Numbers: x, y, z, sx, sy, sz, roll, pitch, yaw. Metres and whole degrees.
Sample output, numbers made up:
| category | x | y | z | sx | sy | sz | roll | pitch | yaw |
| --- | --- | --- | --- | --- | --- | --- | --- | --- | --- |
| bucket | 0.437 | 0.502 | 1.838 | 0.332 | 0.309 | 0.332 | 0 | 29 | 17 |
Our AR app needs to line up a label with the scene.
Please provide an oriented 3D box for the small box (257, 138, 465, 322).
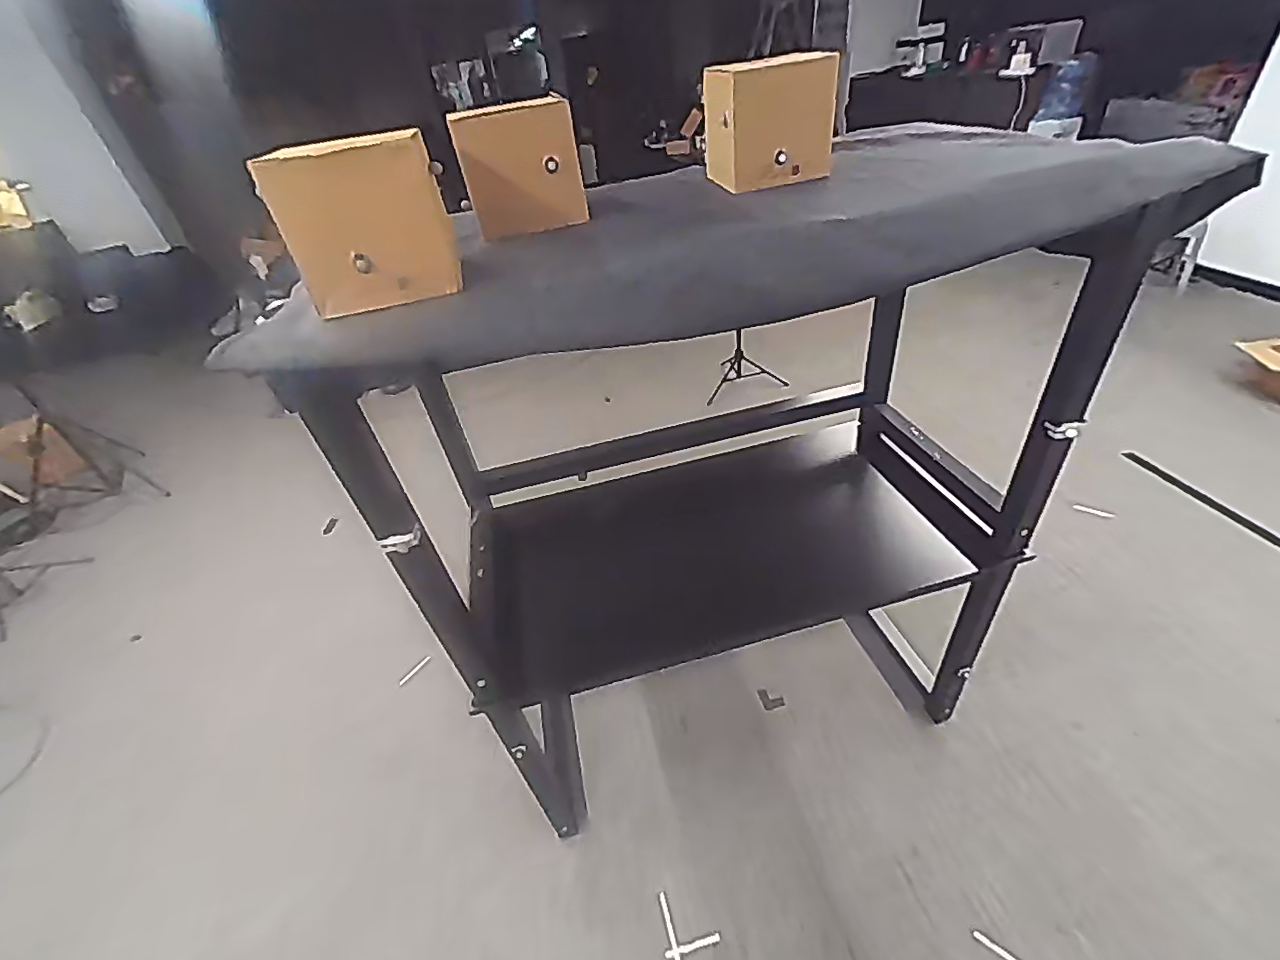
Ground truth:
| category | x | y | z | sx | sy | sz | roll | pitch | yaw |
| --- | --- | --- | --- | --- | --- | --- | --- | --- | --- |
| small box | -0.325 | -0.314 | 0.674 | 0.168 | 0.176 | 0.179 | -15 | 38 | -9 |

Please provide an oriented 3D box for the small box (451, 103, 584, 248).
| category | x | y | z | sx | sy | sz | roll | pitch | yaw |
| --- | --- | --- | --- | --- | --- | --- | --- | --- | --- |
| small box | -0.193 | -0.494 | 0.875 | 0.179 | 0.176 | 0.168 | -15 | 38 | -9 |
